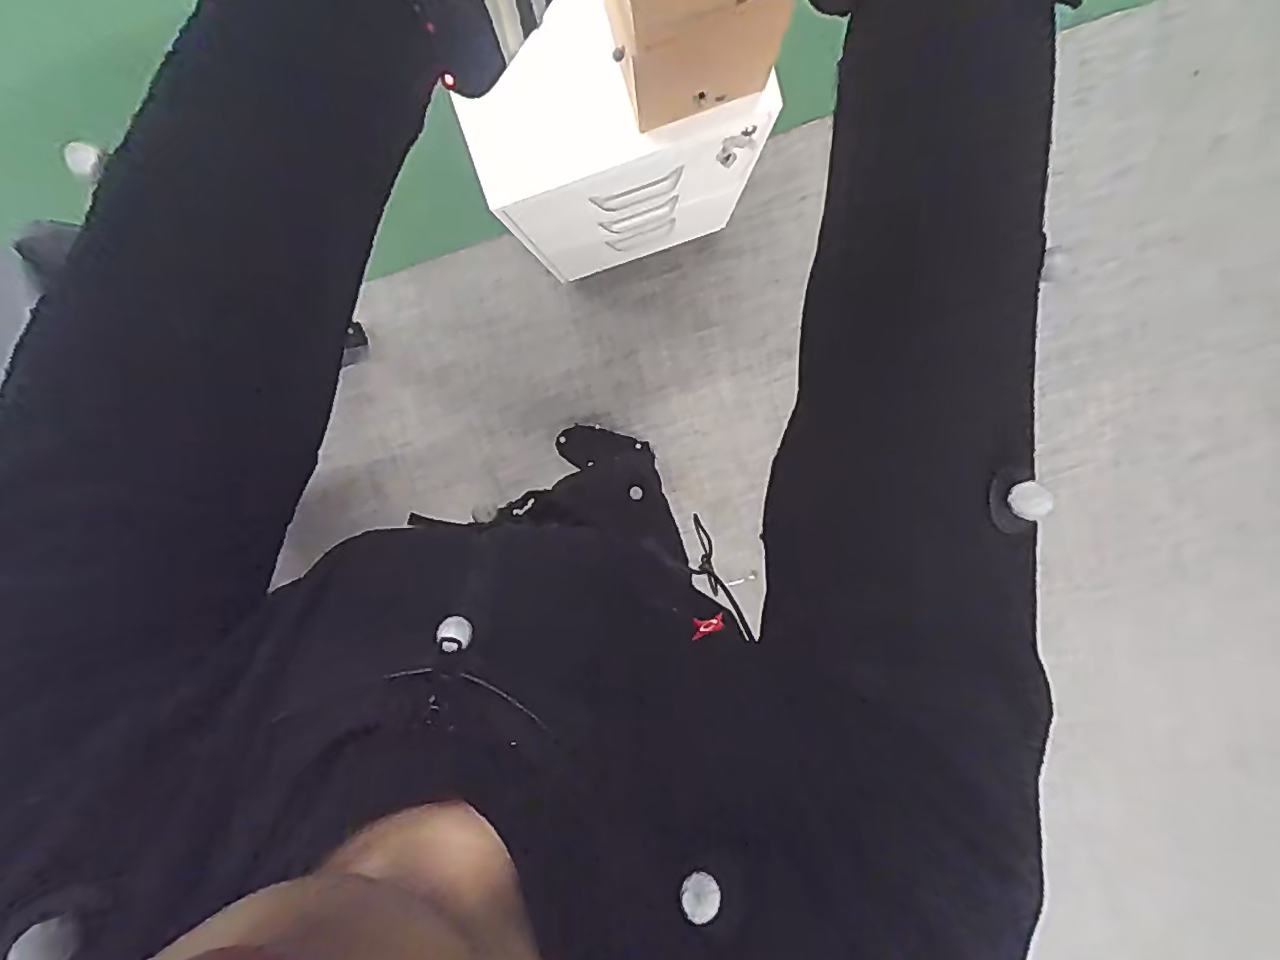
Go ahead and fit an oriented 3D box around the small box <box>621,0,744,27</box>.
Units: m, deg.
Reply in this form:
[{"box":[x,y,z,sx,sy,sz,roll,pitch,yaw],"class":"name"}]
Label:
[{"box":[0.045,-0.501,0.416,0.168,0.176,0.179,-16,100,4],"class":"small box"}]
